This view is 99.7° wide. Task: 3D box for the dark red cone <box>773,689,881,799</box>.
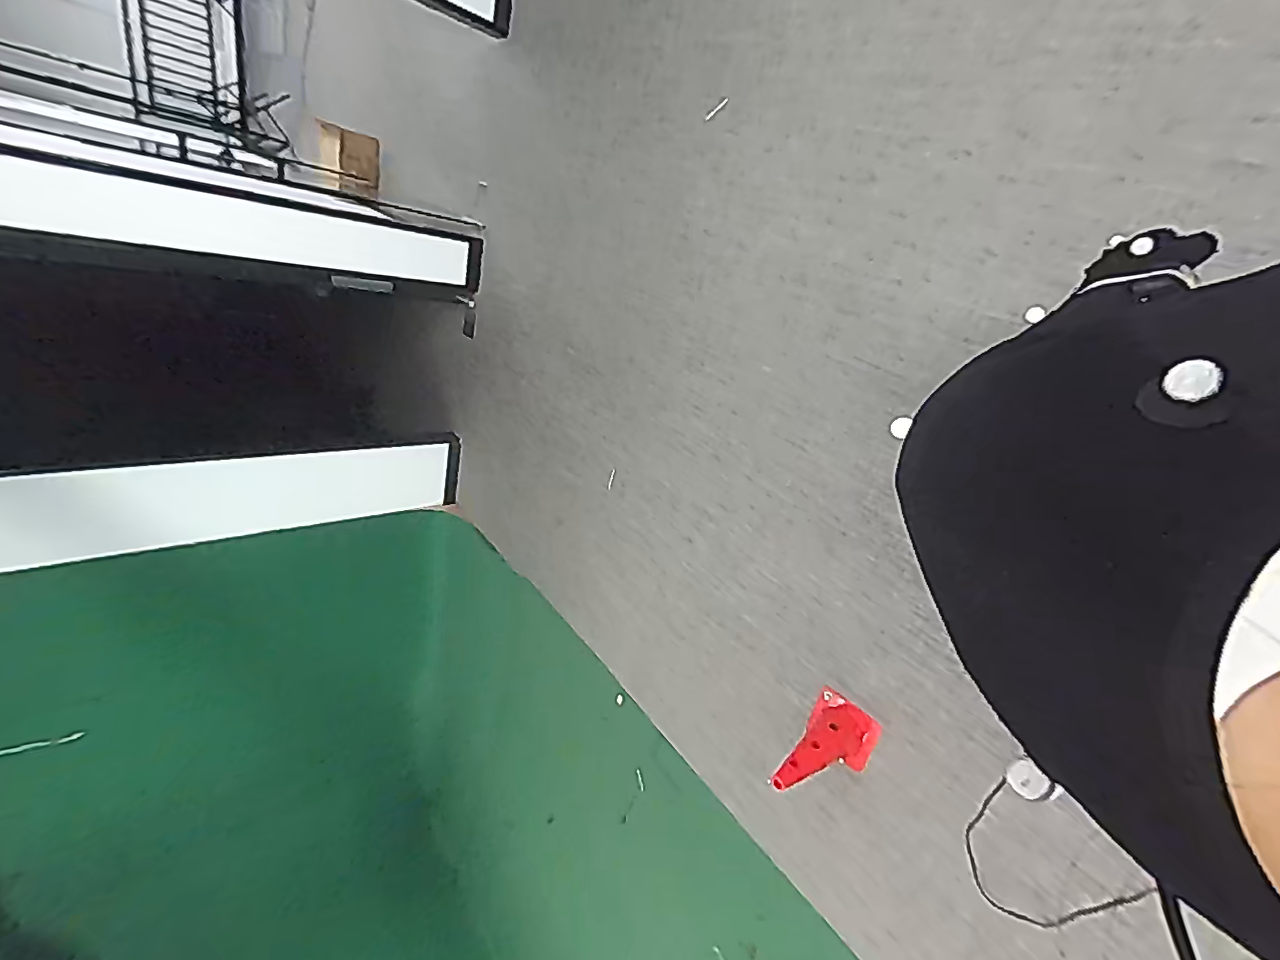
[{"bbox_3d":[0.507,0.794,1.557,0.202,0.394,0.201,30,120,41],"label":"dark red cone"}]
